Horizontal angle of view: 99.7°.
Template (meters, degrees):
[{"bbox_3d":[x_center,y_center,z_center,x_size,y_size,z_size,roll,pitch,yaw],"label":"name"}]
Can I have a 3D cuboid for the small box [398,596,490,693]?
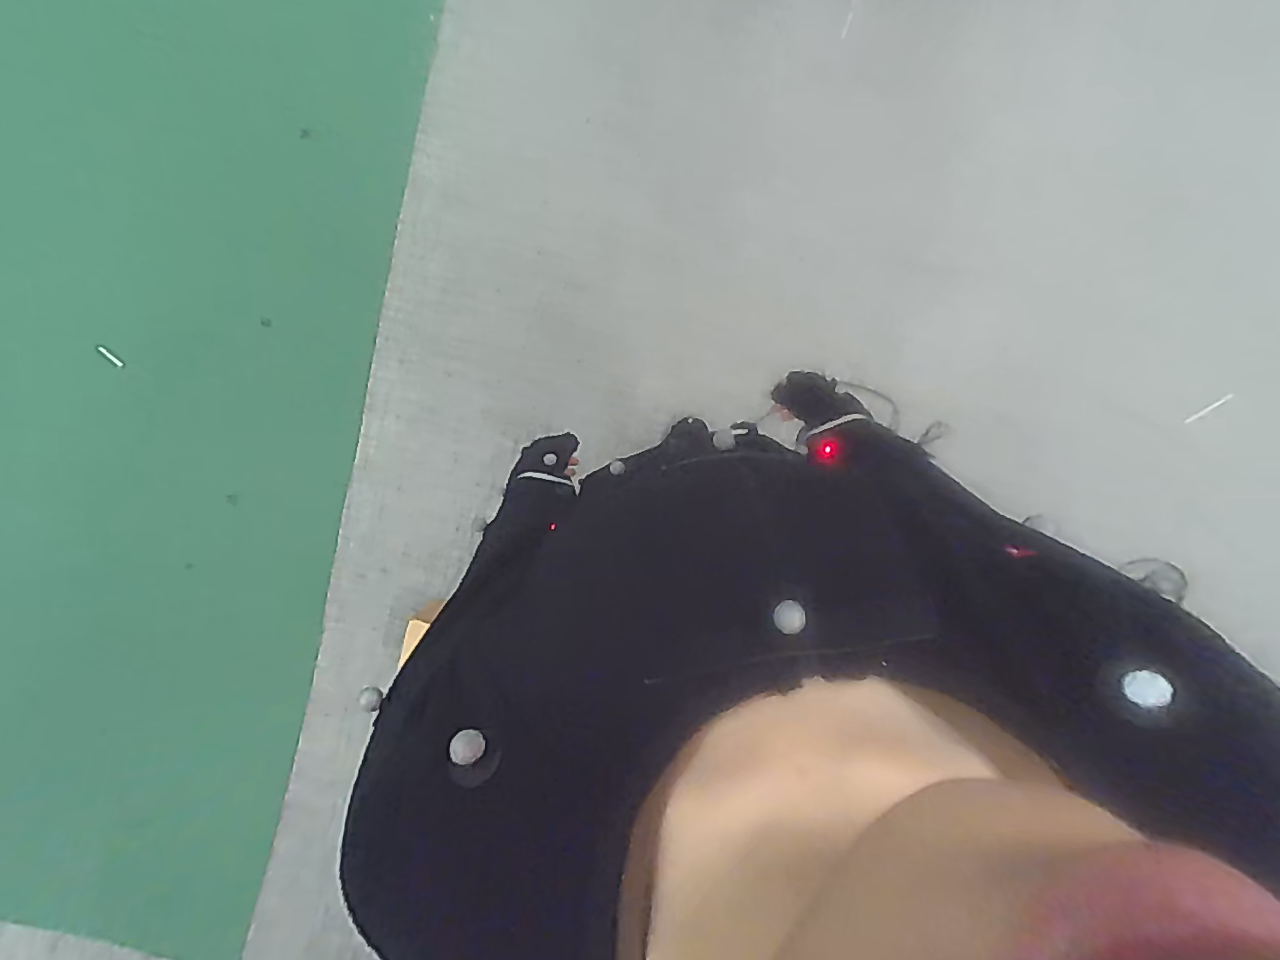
[{"bbox_3d":[-0.519,0.435,1.455,0.168,0.176,0.179,16,95,-1],"label":"small box"}]
